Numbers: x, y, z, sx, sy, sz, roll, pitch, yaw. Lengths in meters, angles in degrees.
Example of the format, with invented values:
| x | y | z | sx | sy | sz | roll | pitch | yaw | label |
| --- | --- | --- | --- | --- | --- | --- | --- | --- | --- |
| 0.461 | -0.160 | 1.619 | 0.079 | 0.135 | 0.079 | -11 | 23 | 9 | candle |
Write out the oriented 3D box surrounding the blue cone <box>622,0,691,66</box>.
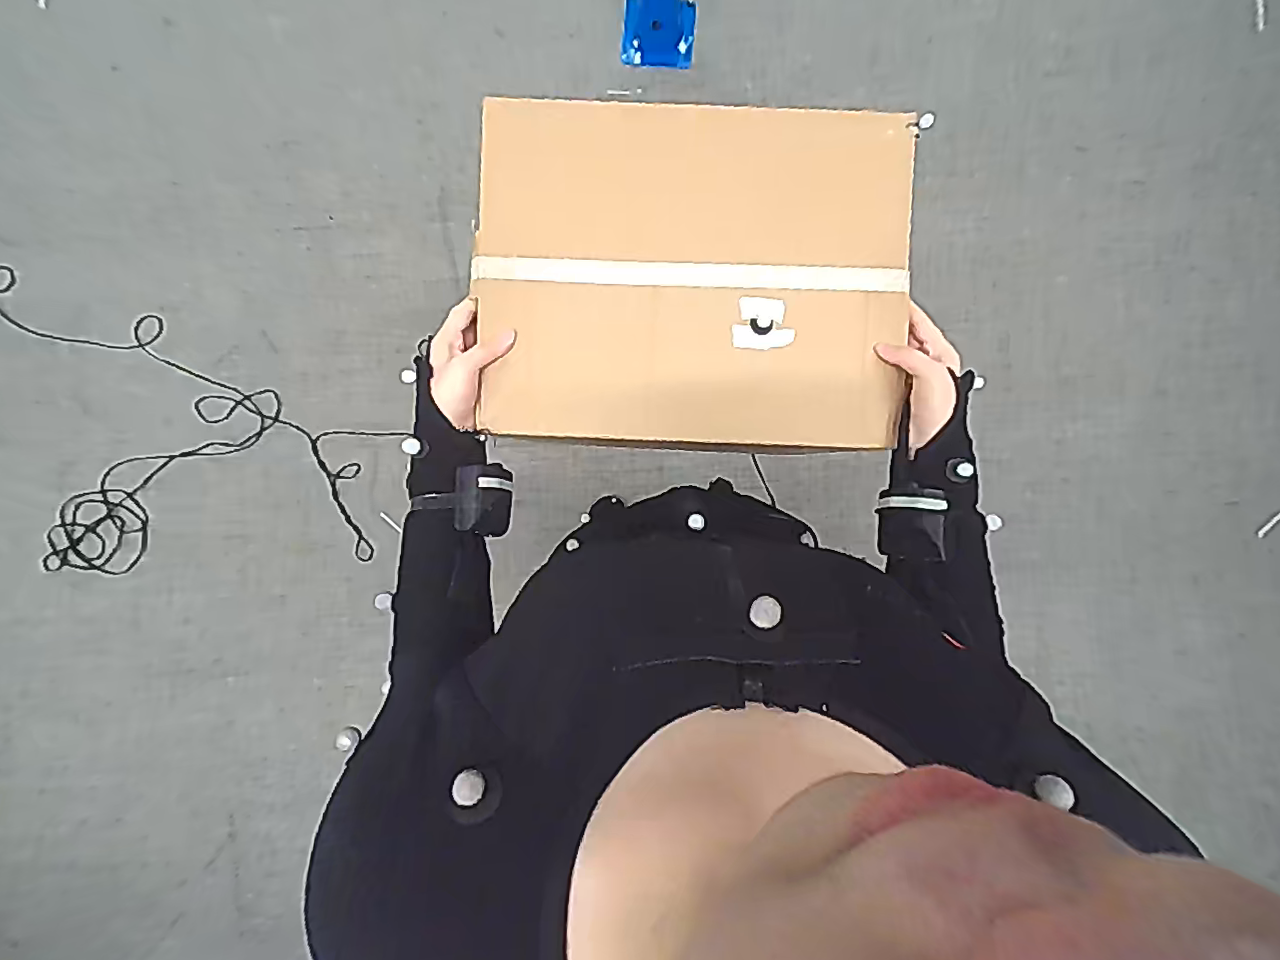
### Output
| x | y | z | sx | sy | sz | roll | pitch | yaw | label |
| --- | --- | --- | --- | --- | --- | --- | --- | --- | --- |
| 0.043 | -1.278 | 1.370 | 0.193 | 0.380 | 0.192 | 7 | 88 | 1 | blue cone |

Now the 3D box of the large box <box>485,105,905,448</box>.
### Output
| x | y | z | sx | sy | sz | roll | pitch | yaw | label |
| --- | --- | --- | --- | --- | --- | --- | --- | --- | --- |
| 0.048 | -0.201 | 0.664 | 0.408 | 0.320 | 0.320 | 2 | 92 | -1 | large box |
